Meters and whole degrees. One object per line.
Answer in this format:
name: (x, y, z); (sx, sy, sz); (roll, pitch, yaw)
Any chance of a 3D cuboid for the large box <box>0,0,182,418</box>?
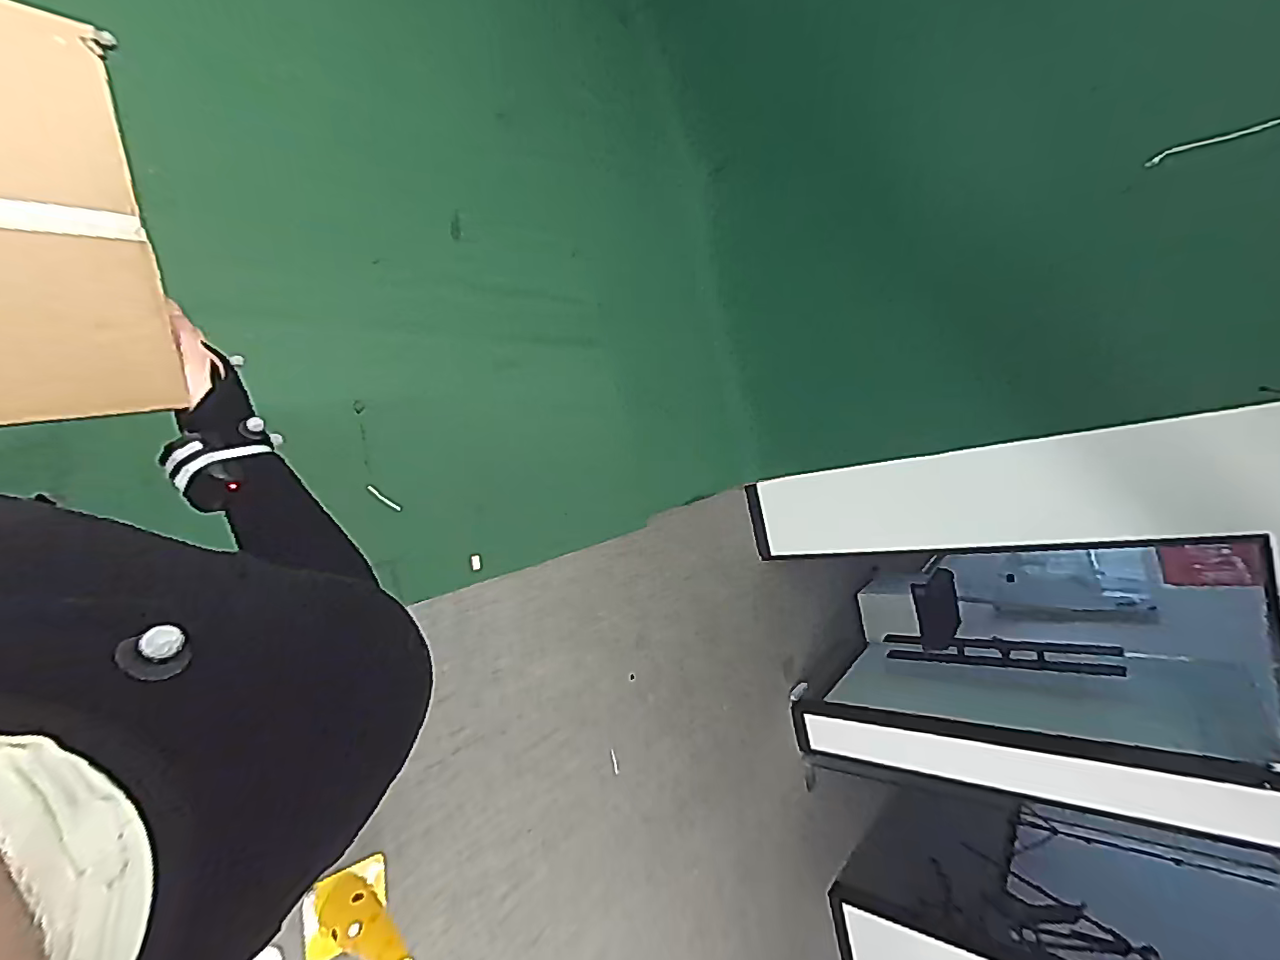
large box: (-0.682, -0.191, 0.412); (0.408, 0.320, 0.320); (-21, 112, -51)
